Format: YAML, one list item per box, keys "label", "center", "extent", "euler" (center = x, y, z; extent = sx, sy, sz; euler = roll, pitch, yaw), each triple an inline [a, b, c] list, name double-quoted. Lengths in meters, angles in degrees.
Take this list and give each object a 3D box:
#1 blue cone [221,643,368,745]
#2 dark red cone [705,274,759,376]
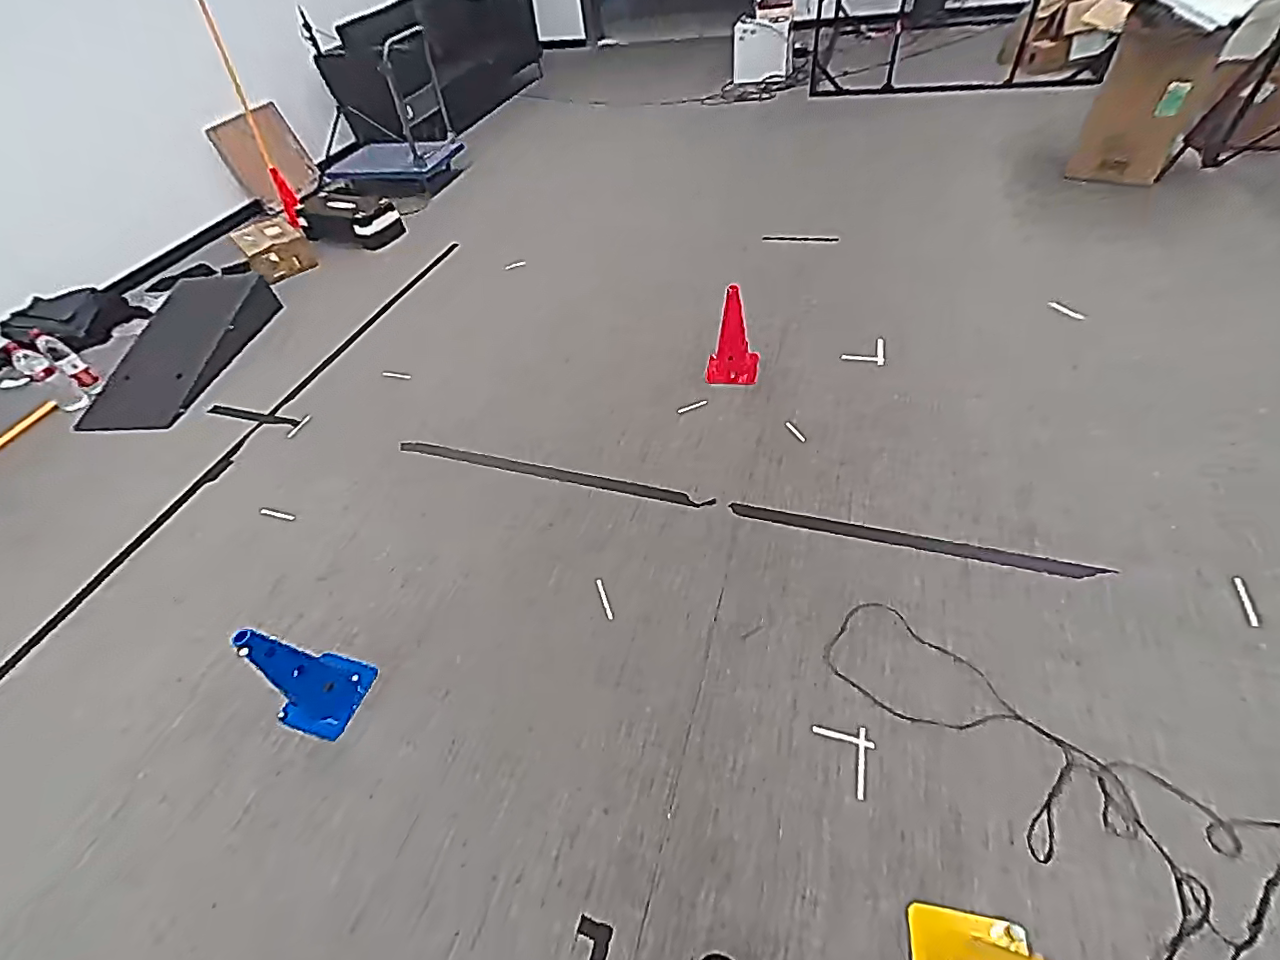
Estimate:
- label: "blue cone"
  center: [-0.857, 0.479, 1.308]
  extent: [0.193, 0.380, 0.192]
  euler: [10, 52, 17]
- label: "dark red cone"
  center: [0.348, -0.584, 2.027]
  extent: [0.202, 0.394, 0.201]
  euler: [4, 50, 12]
